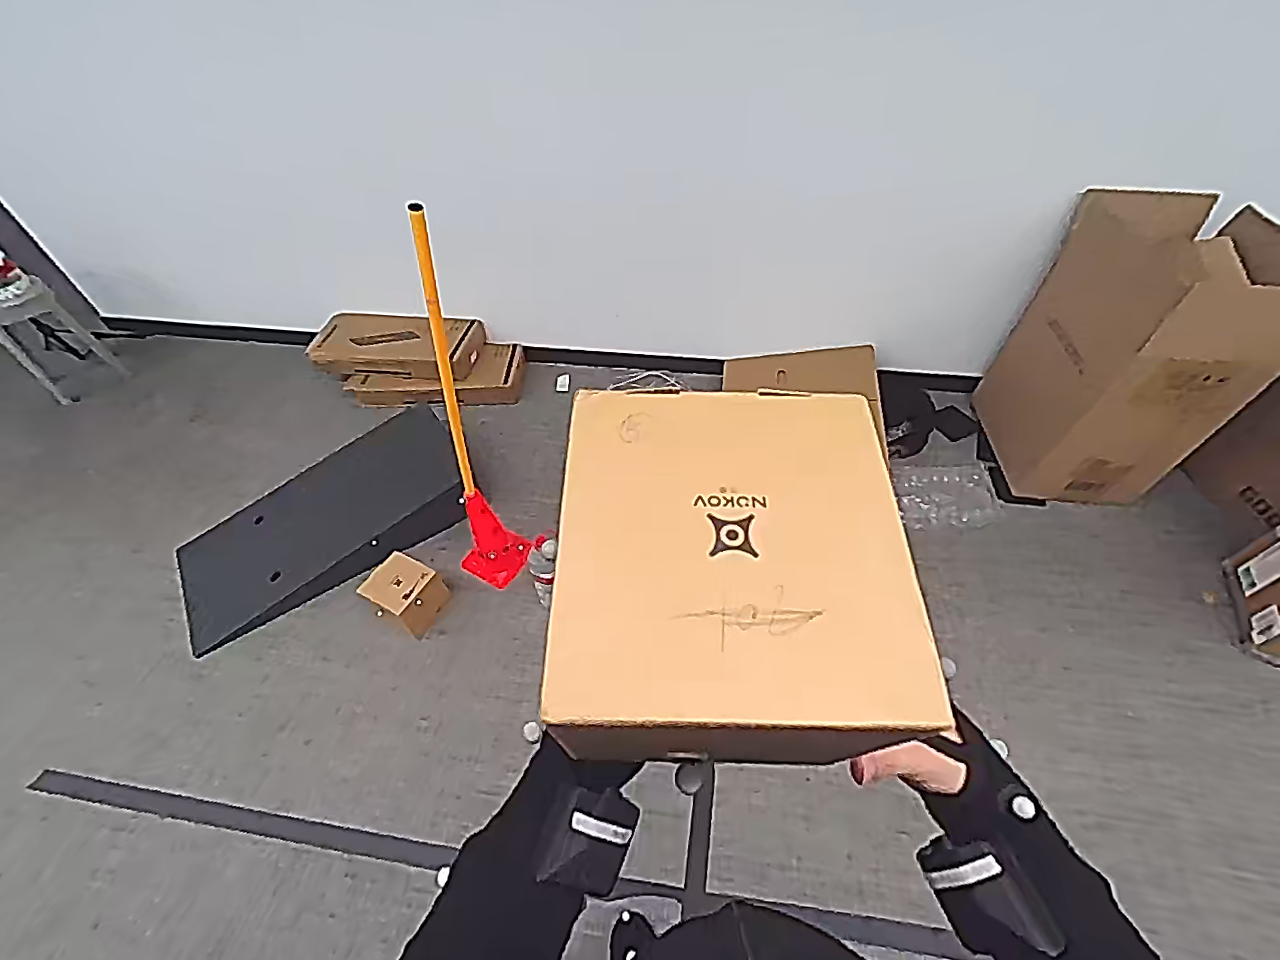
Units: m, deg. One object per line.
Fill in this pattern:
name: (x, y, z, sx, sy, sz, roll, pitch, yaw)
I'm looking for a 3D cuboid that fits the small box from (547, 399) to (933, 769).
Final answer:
small box: (0.042, 0.071, 0.337, 0.168, 0.176, 0.179, 1, 58, 0)
